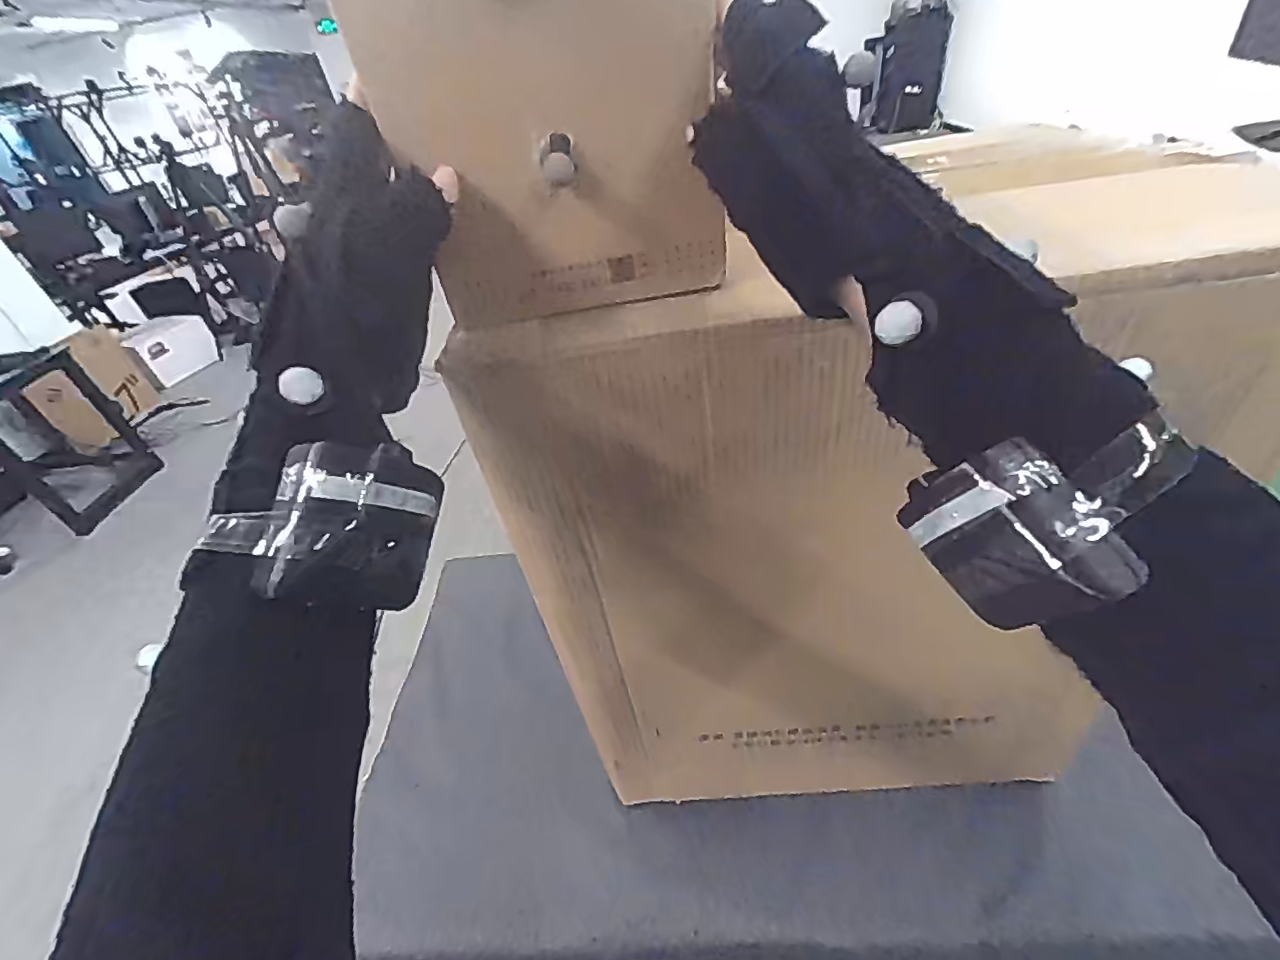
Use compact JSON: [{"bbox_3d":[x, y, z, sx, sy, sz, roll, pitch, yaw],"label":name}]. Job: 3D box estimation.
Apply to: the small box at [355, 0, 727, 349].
[{"bbox_3d":[-0.042,-0.198,0.354,0.168,0.176,0.179,-10,40,3],"label":"small box"}]
